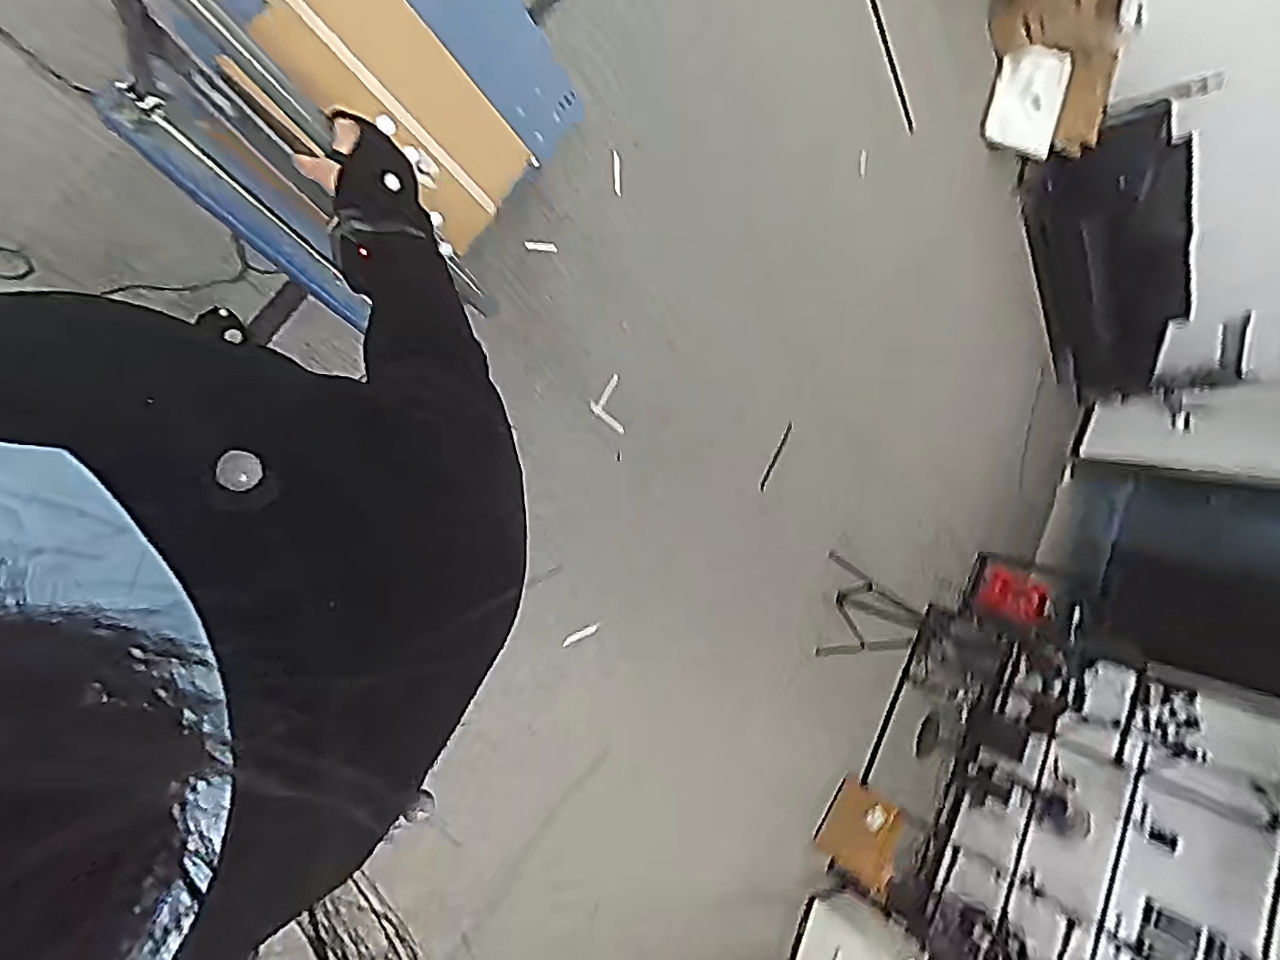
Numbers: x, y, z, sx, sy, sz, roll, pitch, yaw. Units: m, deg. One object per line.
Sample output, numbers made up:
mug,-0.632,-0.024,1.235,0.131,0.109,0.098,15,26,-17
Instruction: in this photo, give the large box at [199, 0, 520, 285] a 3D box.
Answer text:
large box,-0.526,-0.645,1.039,0.408,0.320,0.320,40,72,-40
